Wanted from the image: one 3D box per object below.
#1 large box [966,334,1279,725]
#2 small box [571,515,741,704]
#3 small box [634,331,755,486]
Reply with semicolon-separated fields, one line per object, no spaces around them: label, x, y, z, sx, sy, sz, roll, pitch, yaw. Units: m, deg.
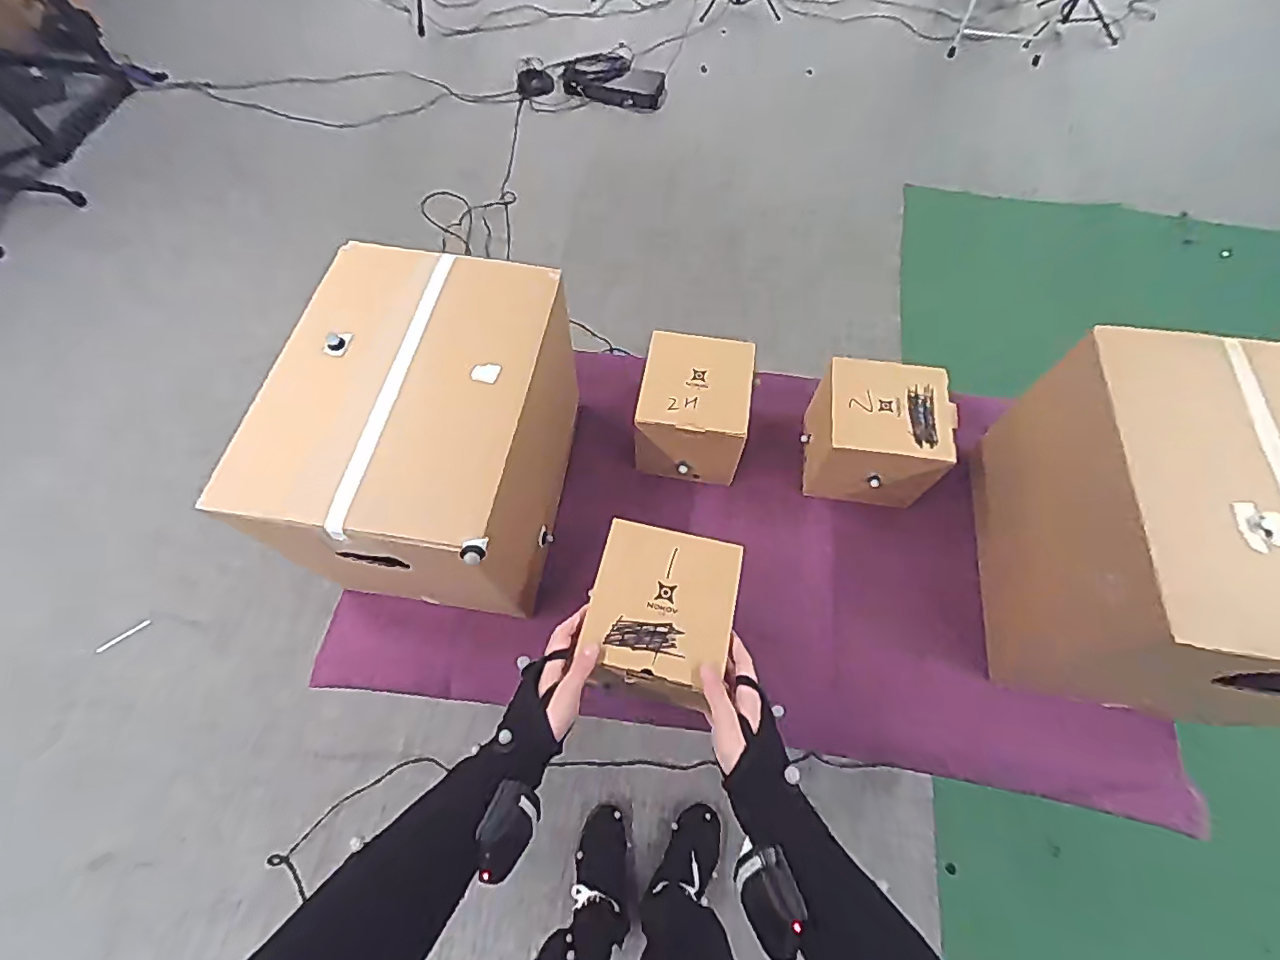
large box;0.682;0.077;0.714;0.320;0.320;0.408;9;64;6
small box;0.024;0.172;0.689;0.168;0.176;0.179;12;62;6
small box;0.086;-0.113;0.884;0.168;0.176;0.179;8;63;6
